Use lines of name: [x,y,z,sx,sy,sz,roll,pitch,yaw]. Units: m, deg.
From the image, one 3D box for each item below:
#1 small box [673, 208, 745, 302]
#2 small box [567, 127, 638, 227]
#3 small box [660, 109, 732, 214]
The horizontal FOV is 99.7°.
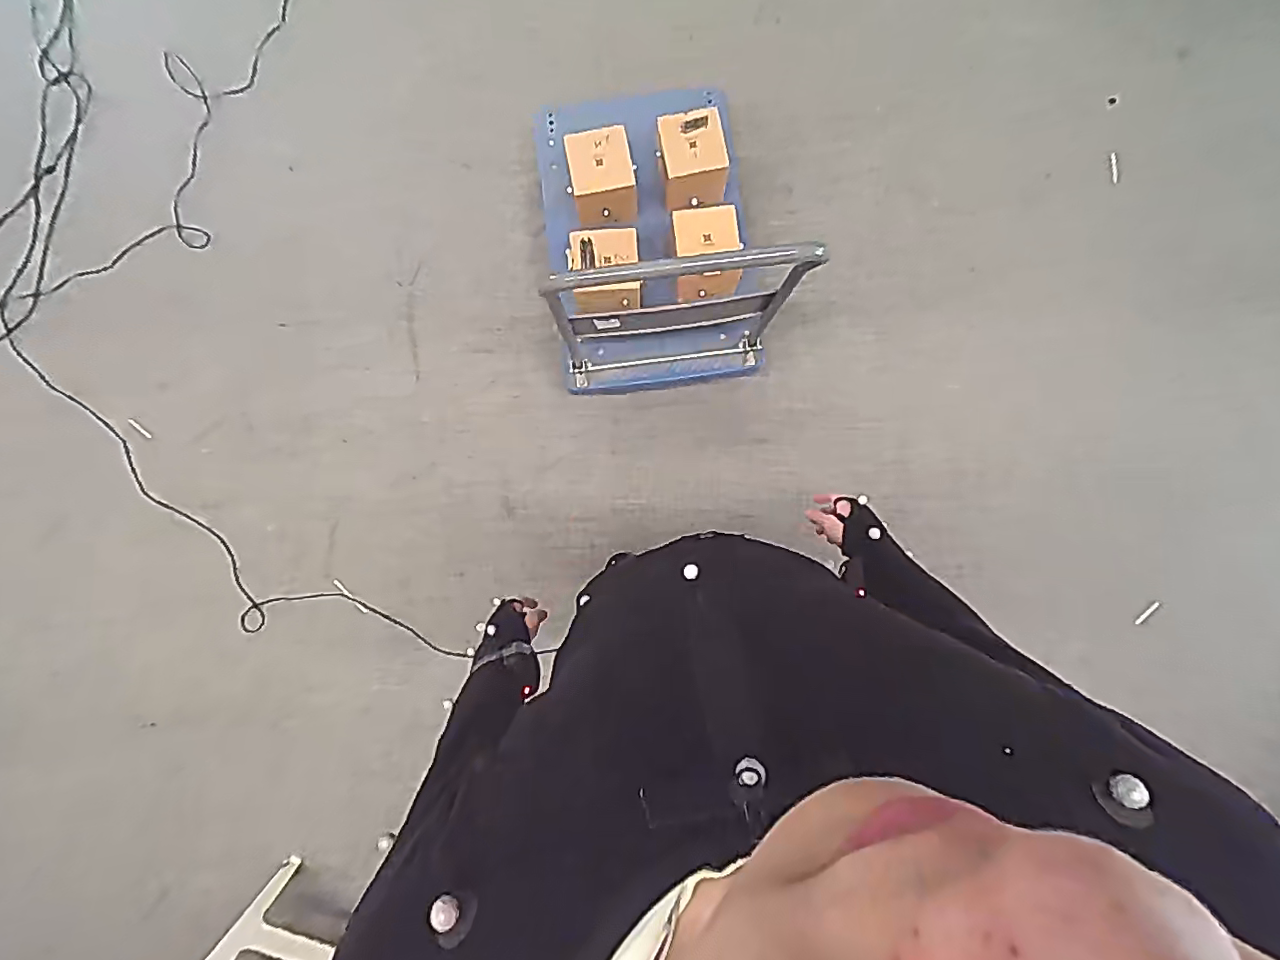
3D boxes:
small box: [0.182,-0.607,1.473,0.168,0.176,0.179,-6,85,0]
small box: [-0.098,-0.826,1.498,0.168,0.176,0.179,-10,84,-1]
small box: [0.149,-0.875,1.497,0.168,0.176,0.179,-11,86,1]
